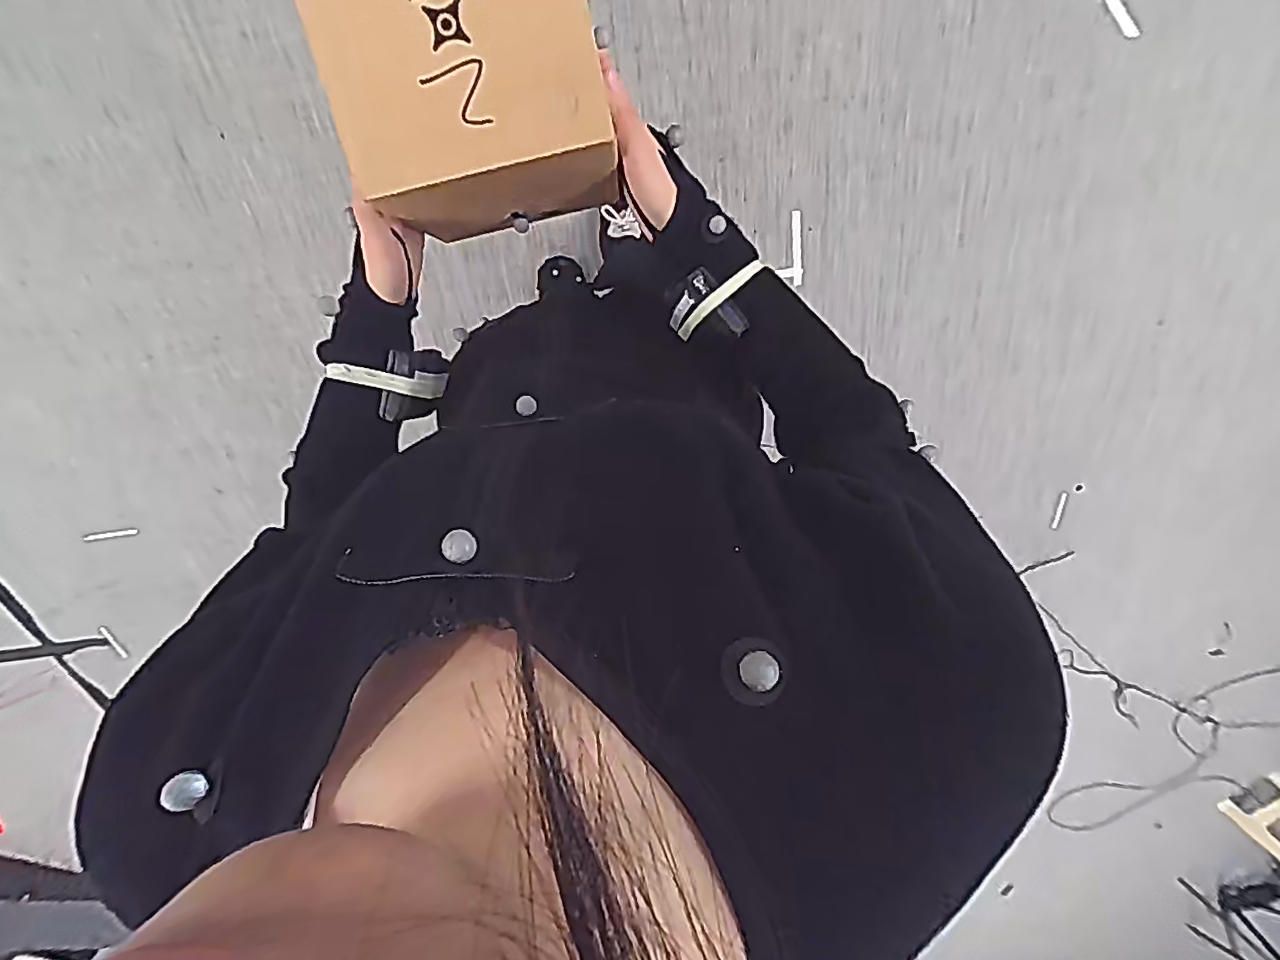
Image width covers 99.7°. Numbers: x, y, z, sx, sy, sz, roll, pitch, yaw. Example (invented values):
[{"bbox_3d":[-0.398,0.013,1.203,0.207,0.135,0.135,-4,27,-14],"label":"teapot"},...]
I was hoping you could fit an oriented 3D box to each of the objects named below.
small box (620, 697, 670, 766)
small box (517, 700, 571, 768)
[{"bbox_3d":[0.018,0.940,2.041,0.168,0.176,0.179,-7,120,-1],"label":"small box"},{"bbox_3d":[-0.353,0.937,2.004,0.179,0.176,0.168,6,117,-10],"label":"small box"}]
